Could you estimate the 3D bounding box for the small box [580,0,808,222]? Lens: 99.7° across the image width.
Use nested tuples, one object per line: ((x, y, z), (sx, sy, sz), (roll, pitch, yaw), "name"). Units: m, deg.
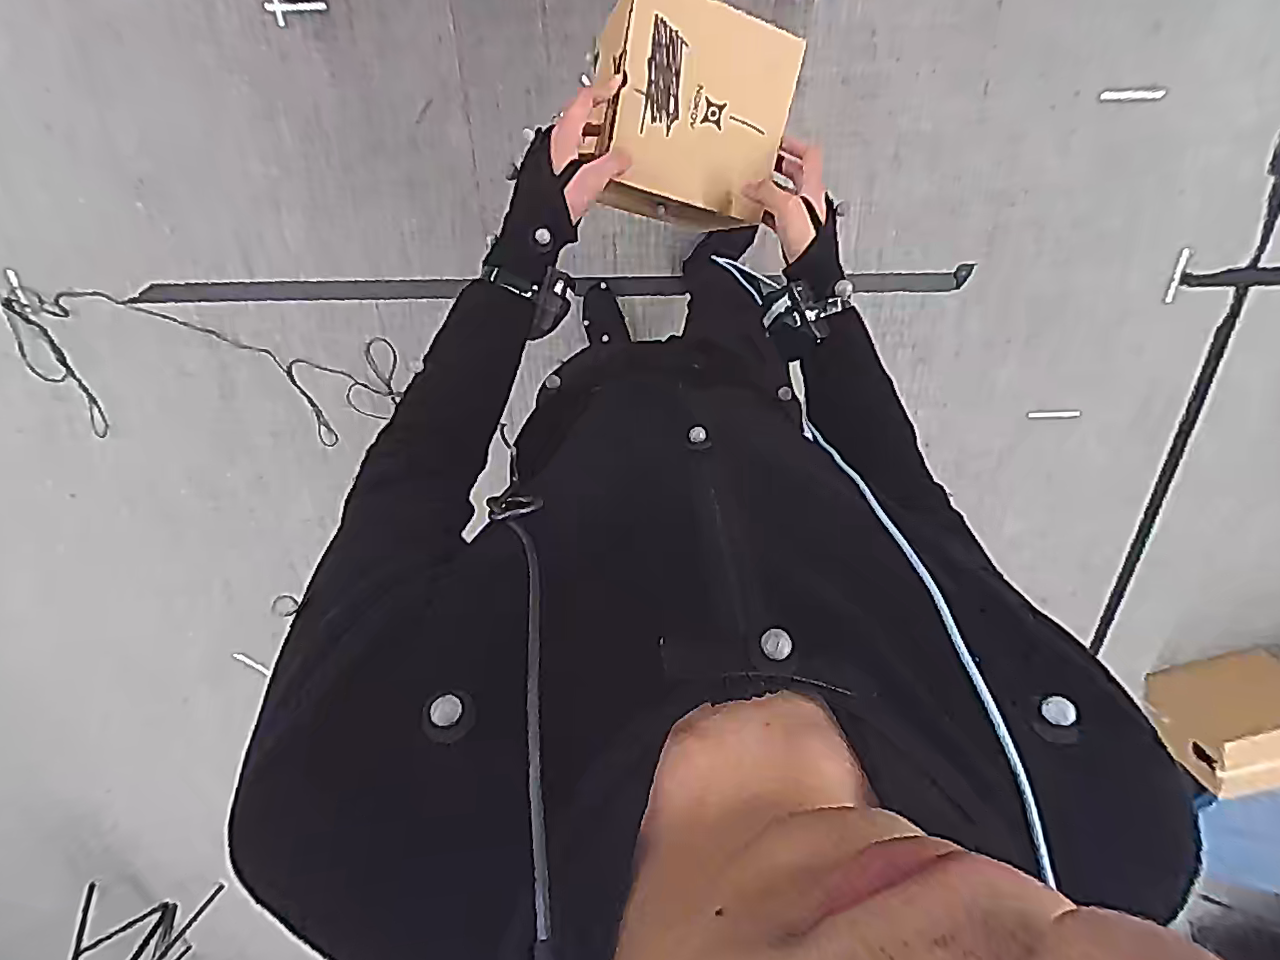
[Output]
((0.042, -0.388, 0.585), (0.179, 0.176, 0.168), (6, 110, -21), "small box")
